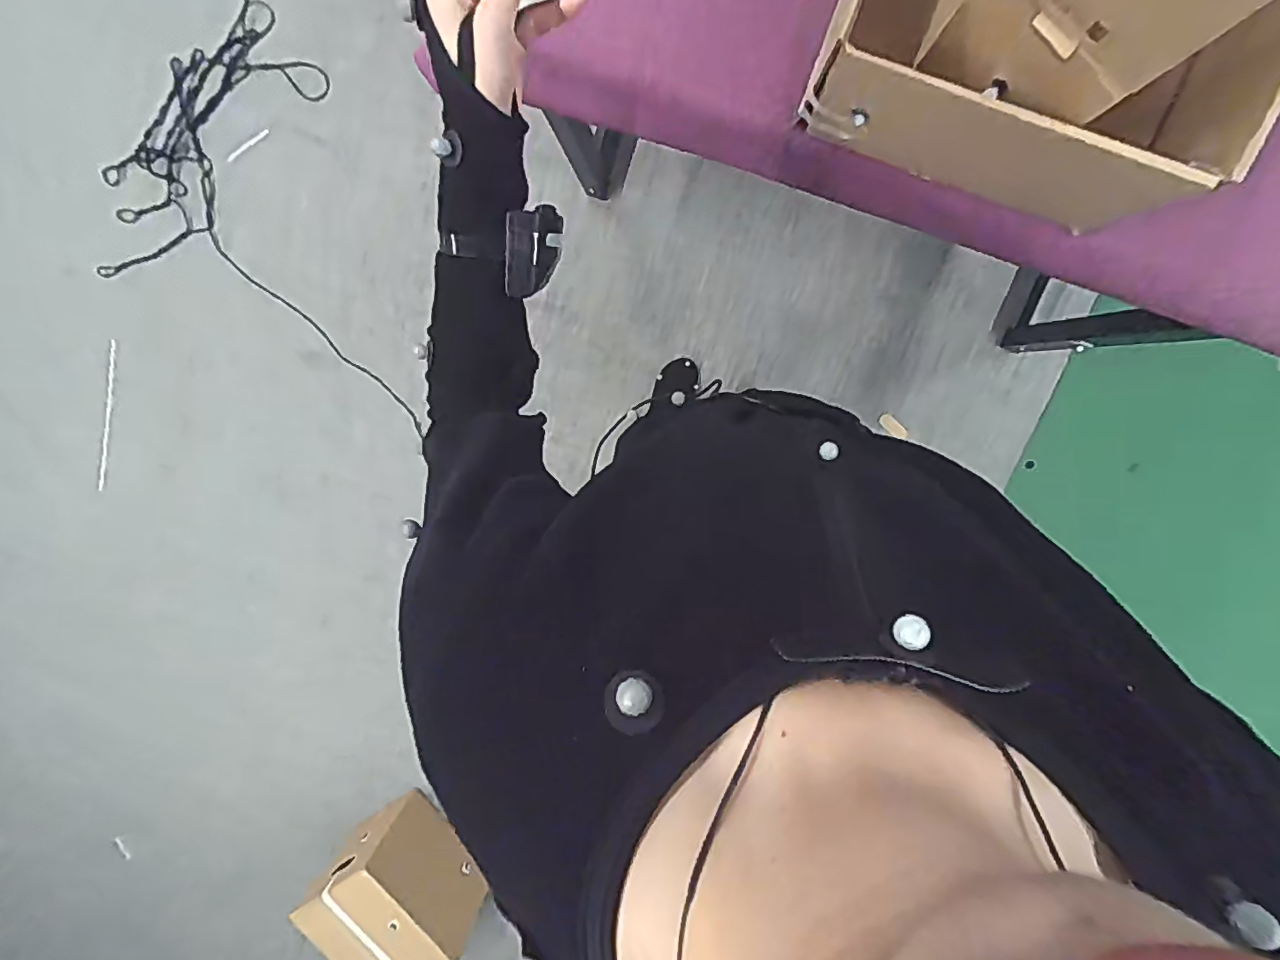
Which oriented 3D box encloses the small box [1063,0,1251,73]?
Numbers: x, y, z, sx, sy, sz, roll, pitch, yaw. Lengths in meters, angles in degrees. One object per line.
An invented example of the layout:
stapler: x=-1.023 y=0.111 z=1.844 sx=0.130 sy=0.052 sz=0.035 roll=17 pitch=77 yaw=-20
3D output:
small box: x=0.407 y=-0.436 z=0.361 sx=0.168 sy=0.176 sz=0.179 roll=42 pitch=100 yaw=-3

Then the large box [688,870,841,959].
large box: x=0.354 y=1.442 z=1.615 sx=0.408 sy=0.320 sz=0.320 roll=5 pitch=102 yaw=3
